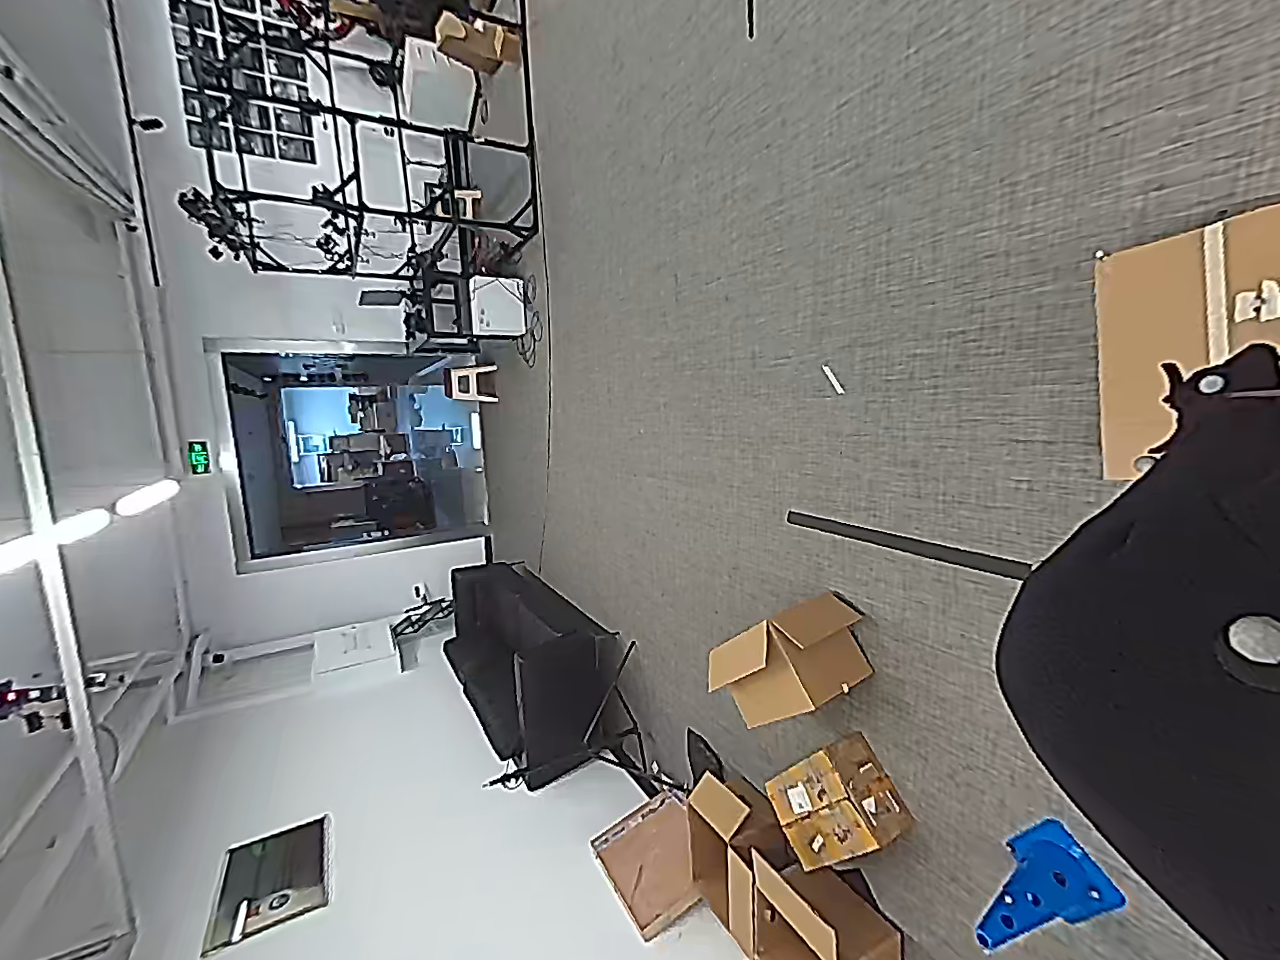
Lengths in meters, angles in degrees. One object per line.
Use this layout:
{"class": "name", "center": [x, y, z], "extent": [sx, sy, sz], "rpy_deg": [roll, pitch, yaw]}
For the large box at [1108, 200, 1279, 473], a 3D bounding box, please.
{"class": "large box", "center": [1.055, -0.222, 0.906], "extent": [0.320, 0.320, 0.408], "rpy_deg": [0, 95, 62]}
